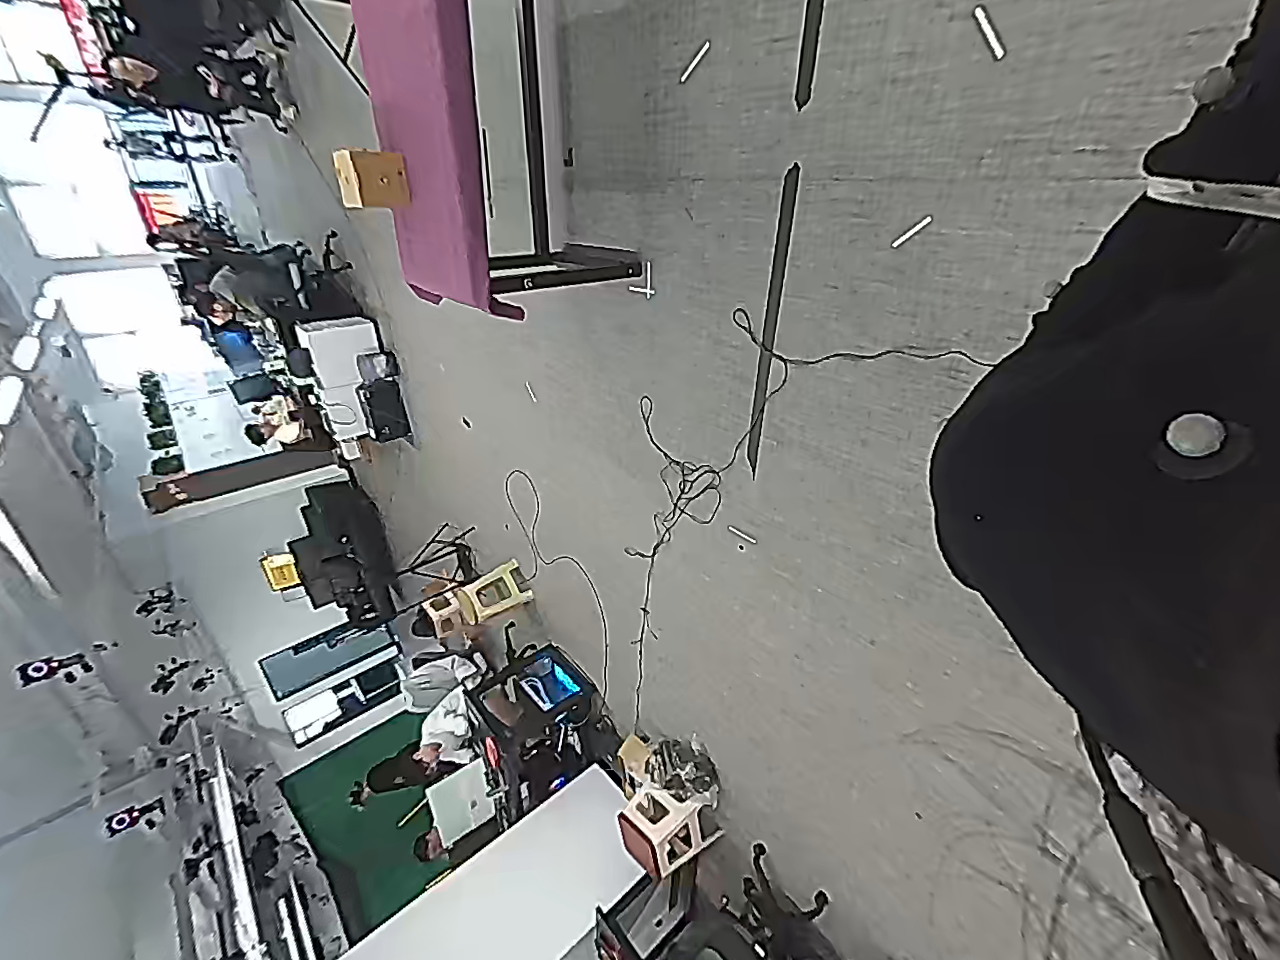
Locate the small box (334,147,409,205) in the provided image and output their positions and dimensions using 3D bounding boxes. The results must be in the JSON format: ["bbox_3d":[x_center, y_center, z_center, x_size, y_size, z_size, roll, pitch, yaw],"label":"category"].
[{"bbox_3d":[-0.899,-1.030,1.831,0.179,0.176,0.168,27,128,39],"label":"small box"}]
